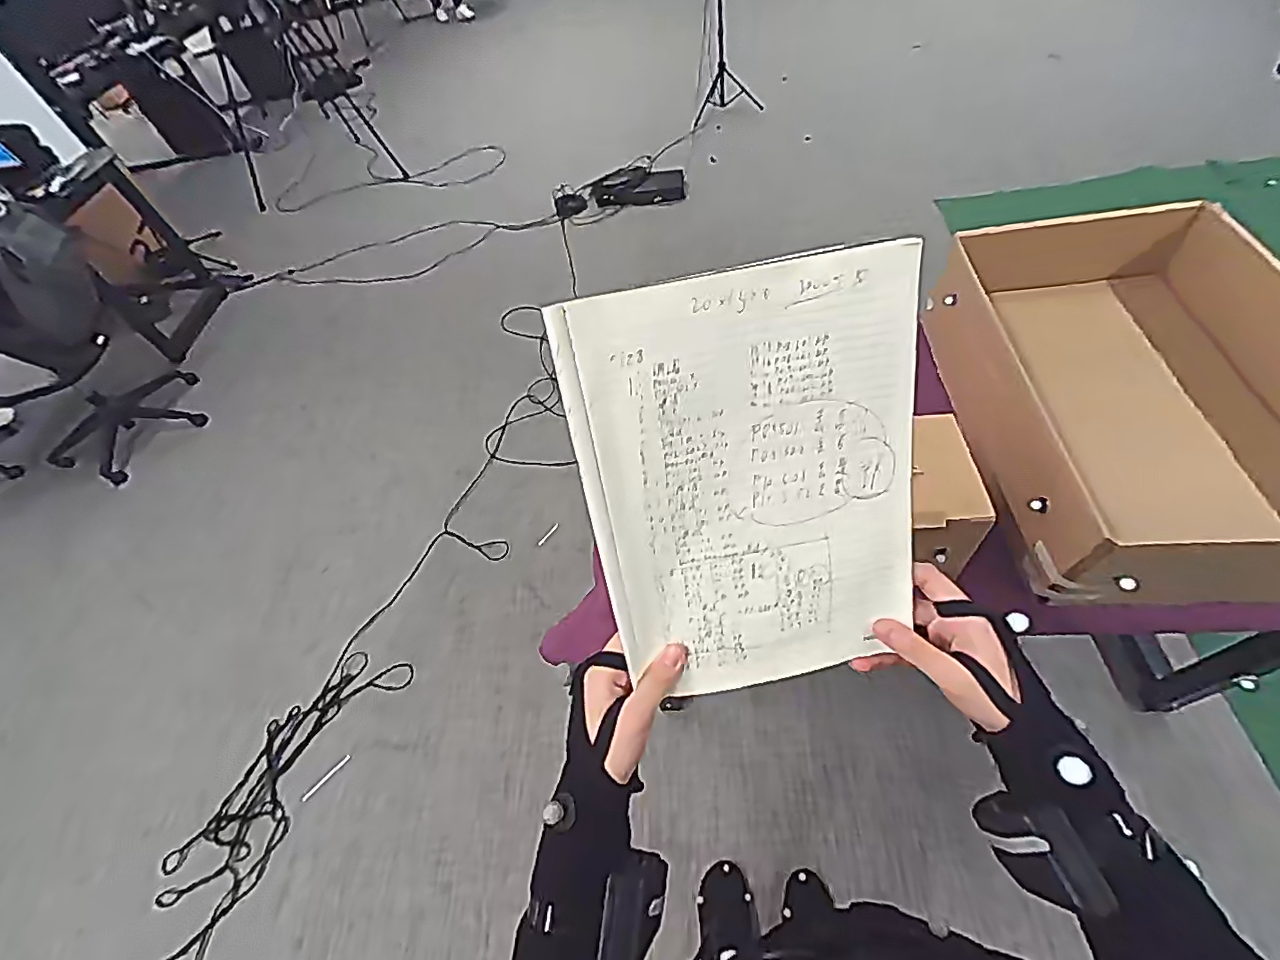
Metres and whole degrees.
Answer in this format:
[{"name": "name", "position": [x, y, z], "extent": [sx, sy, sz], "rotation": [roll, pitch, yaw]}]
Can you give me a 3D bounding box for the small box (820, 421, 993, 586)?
[{"name": "small box", "position": [0.357, 0.041, 0.765], "extent": [0.168, 0.176, 0.179], "rotation": [-3, 52, 8]}]
